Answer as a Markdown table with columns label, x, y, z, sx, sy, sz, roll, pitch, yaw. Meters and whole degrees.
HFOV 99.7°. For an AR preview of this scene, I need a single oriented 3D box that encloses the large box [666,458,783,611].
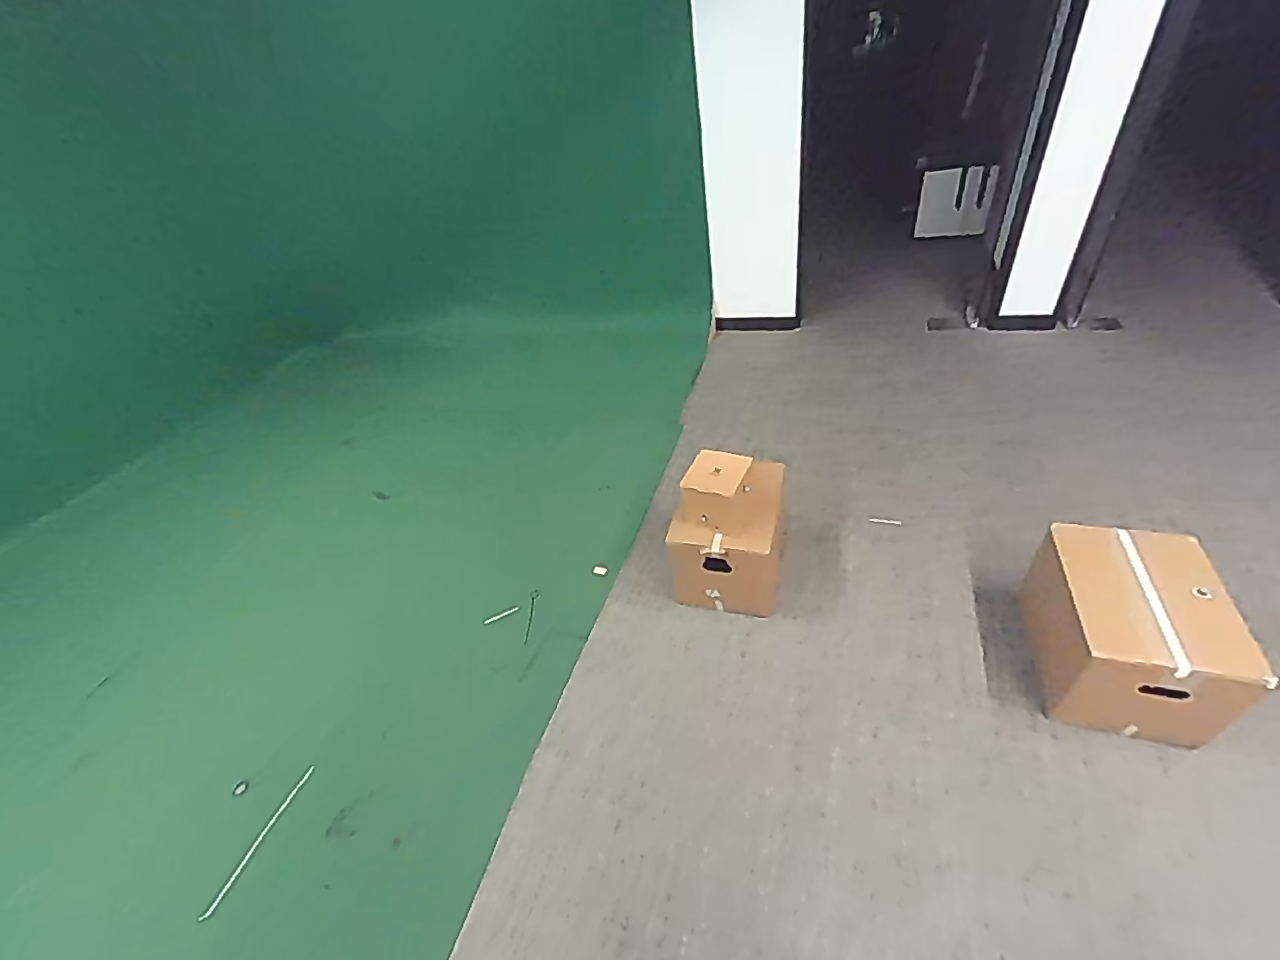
| label | x | y | z | sx | sy | sz | roll | pitch | yaw |
| --- | --- | --- | --- | --- | --- | --- | --- | --- | --- |
| large box | 0.301 | 0.174 | 1.804 | 0.320 | 0.320 | 0.408 | 5 | 43 | 19 |

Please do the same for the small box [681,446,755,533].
| label | x | y | z | sx | sy | sz | roll | pitch | yaw |
| --- | --- | --- | --- | --- | --- | --- | --- | --- | --- |
| small box | 0.238 | 0.027 | 1.612 | 0.168 | 0.176 | 0.179 | 12 | 47 | 28 |
